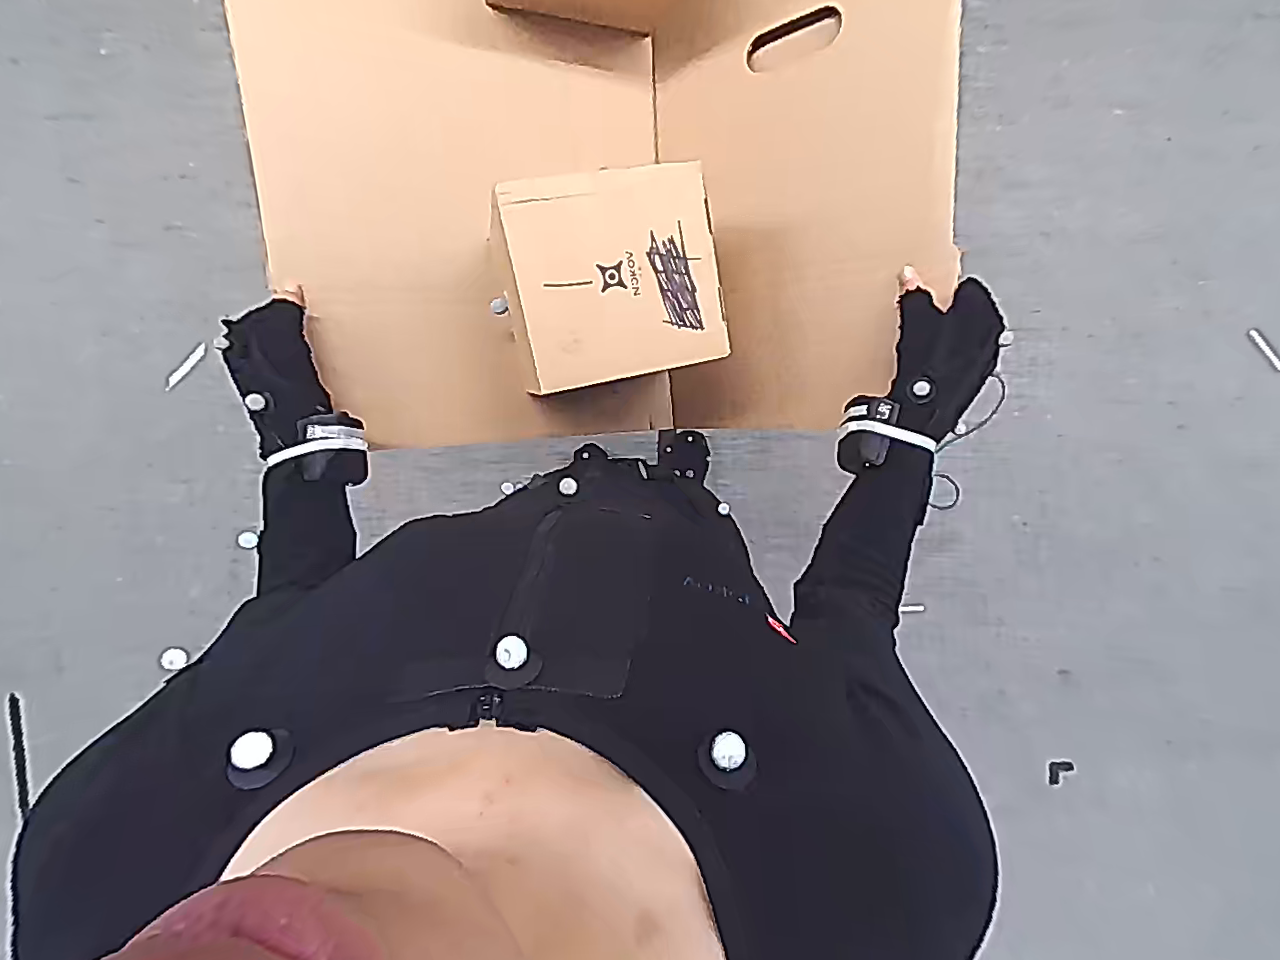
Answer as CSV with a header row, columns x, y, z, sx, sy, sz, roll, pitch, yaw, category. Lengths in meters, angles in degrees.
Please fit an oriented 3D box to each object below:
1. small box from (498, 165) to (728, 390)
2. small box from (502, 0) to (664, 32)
x,y,z,sx,sy,sz,roll,pitch,yaw,category
-0.035,-0.188,0.536,0.179,0.176,0.168,-14,103,-13,small box
-0.044,-0.542,0.473,0.179,0.176,0.168,-2,100,-17,small box
